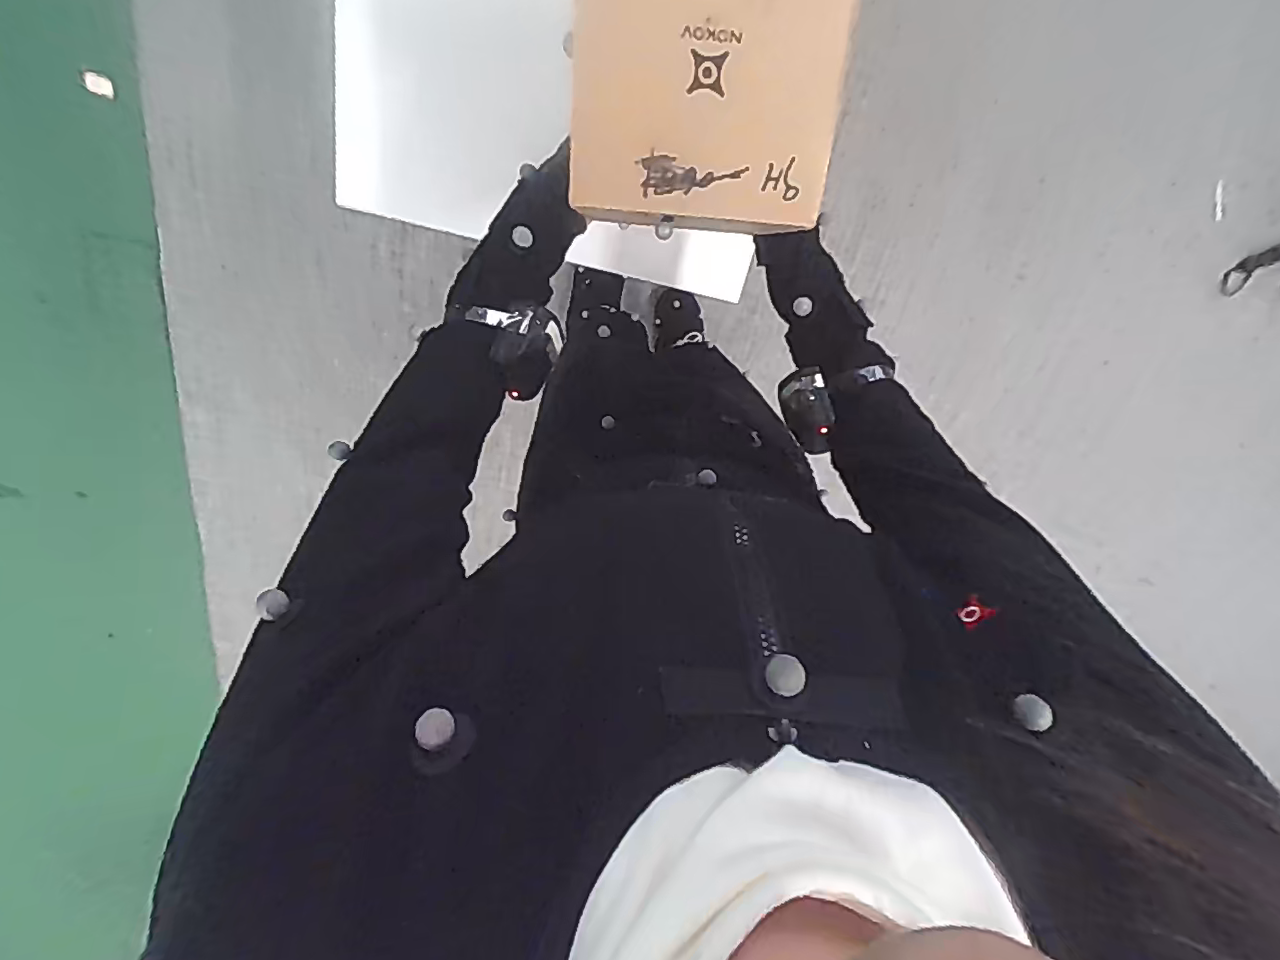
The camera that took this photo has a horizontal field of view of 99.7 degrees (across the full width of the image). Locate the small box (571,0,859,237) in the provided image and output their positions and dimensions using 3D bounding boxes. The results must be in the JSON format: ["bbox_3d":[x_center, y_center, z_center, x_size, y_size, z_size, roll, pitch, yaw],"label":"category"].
[{"bbox_3d":[0.040,-0.282,0.395,0.168,0.176,0.179,3,113,-3],"label":"small box"}]
